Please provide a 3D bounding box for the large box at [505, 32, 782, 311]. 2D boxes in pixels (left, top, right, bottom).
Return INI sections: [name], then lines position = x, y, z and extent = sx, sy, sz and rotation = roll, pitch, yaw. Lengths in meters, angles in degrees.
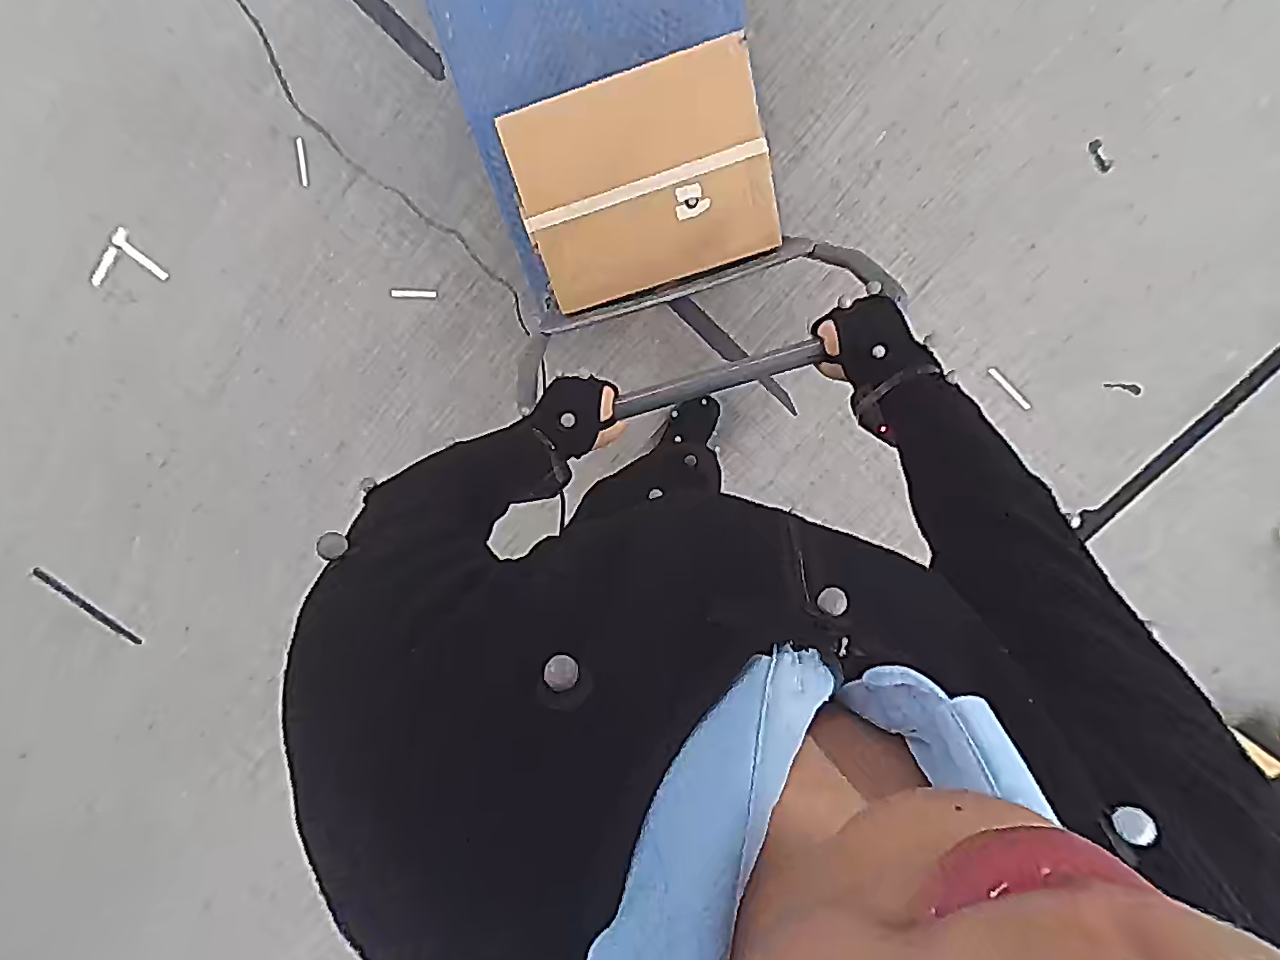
[large box]
position = 0.008, -0.554, 1.038
extent = 0.408, 0.320, 0.320
rotation = -17, 114, 5
